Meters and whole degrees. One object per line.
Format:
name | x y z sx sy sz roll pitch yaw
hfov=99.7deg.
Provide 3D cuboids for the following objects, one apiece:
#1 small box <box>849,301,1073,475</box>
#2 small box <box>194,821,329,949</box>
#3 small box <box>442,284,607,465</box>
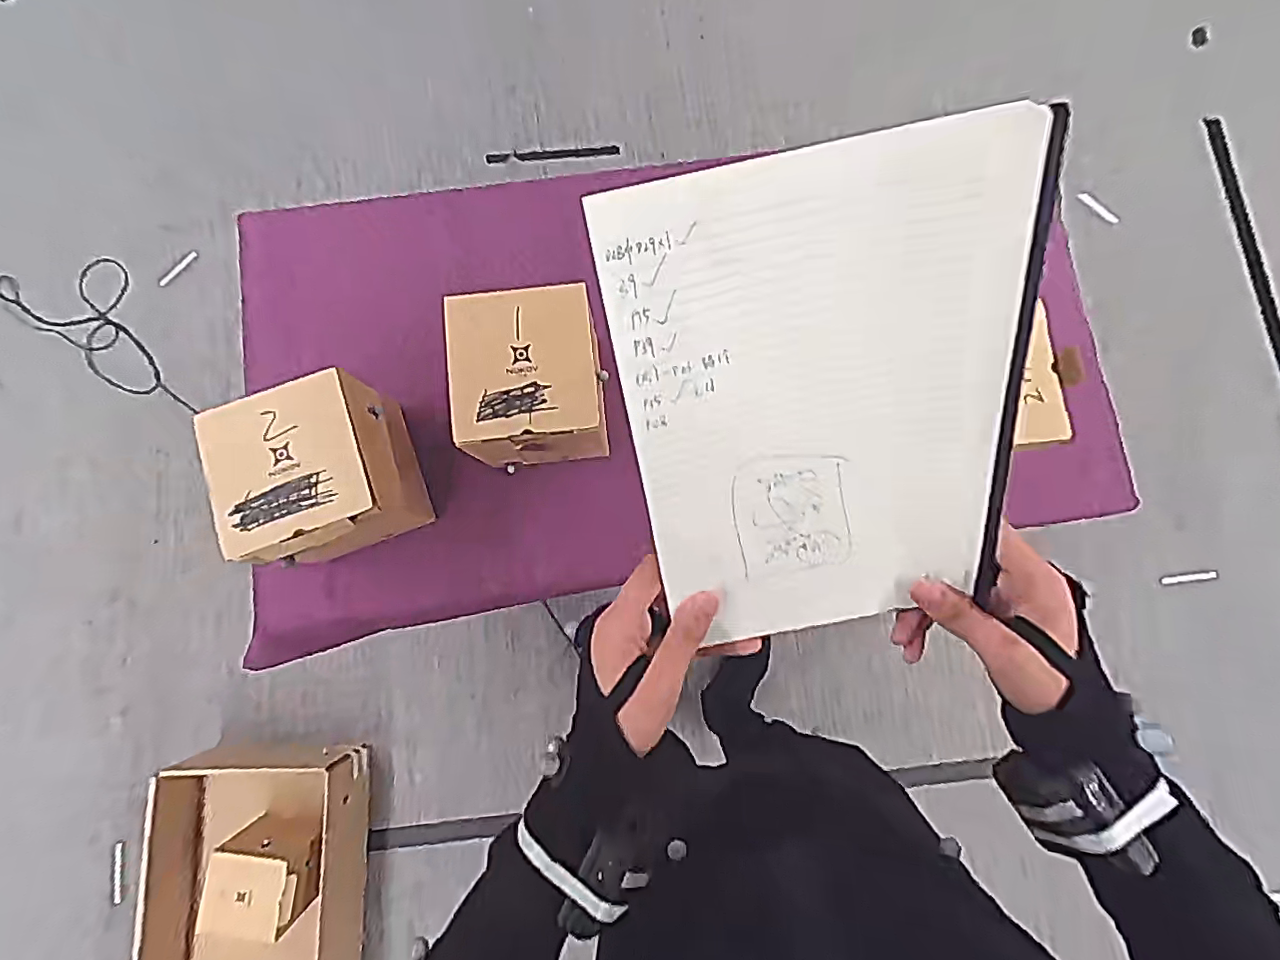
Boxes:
small box | 0.379 -0.103 0.678 0.179 0.176 0.168 -6 82 -1
small box | -0.841 0.903 1.221 0.179 0.176 0.168 7 82 1
small box | -0.135 -0.118 0.680 0.168 0.176 0.179 -7 81 -1
